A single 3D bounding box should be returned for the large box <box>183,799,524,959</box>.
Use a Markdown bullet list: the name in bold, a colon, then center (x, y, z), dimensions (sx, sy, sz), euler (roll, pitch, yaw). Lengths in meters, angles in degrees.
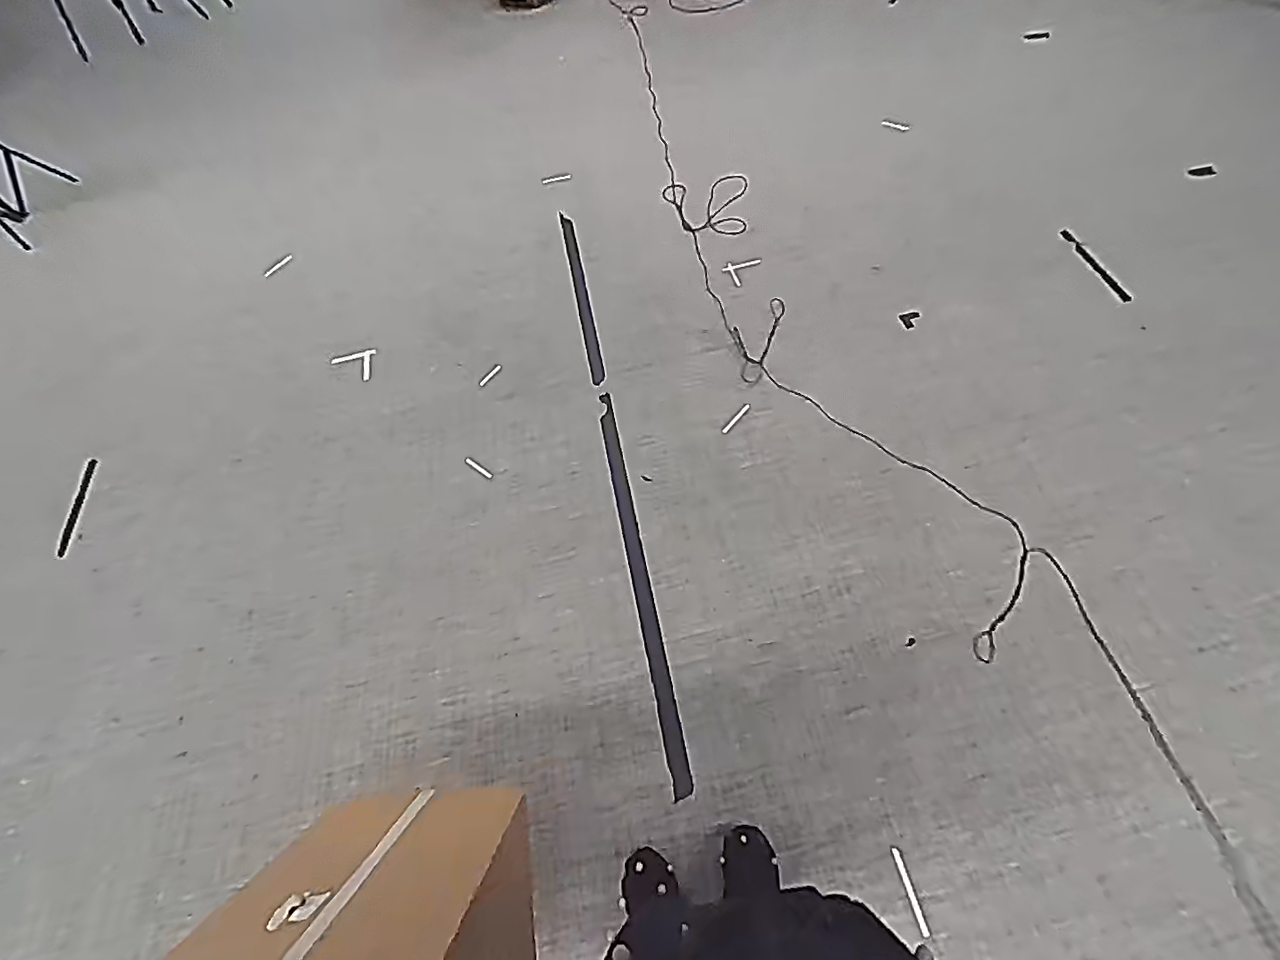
- **large box**: center (-0.343, 0.673, 0.687), dimensions (0.320, 0.408, 0.320), euler (-5, 87, 1)
